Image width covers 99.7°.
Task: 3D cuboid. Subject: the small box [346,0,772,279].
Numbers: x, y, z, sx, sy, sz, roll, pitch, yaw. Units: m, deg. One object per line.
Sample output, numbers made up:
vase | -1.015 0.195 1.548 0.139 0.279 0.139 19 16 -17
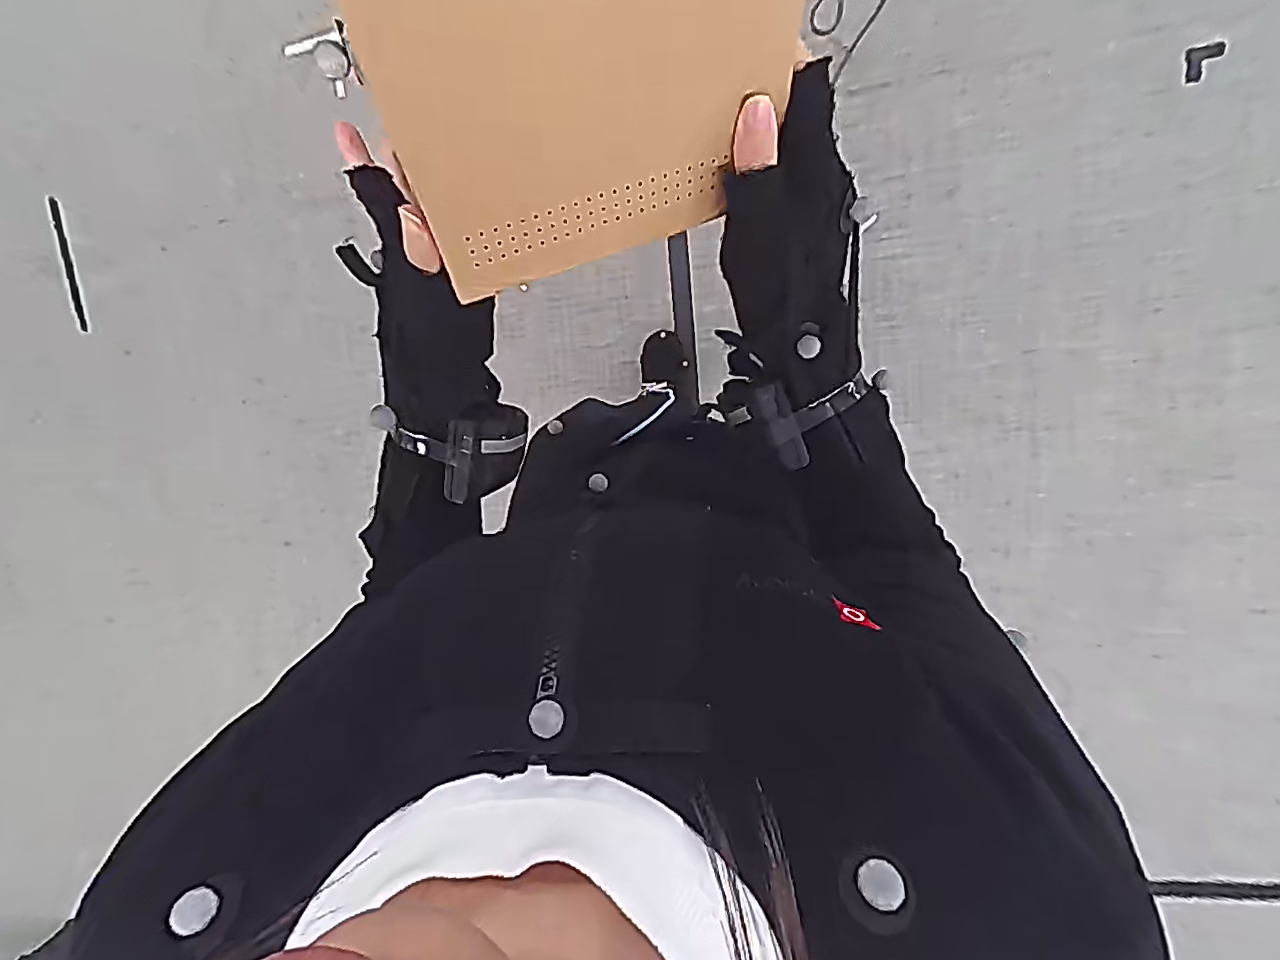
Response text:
small box | -0.045 -0.229 0.264 0.179 0.176 0.168 -22 59 -10
